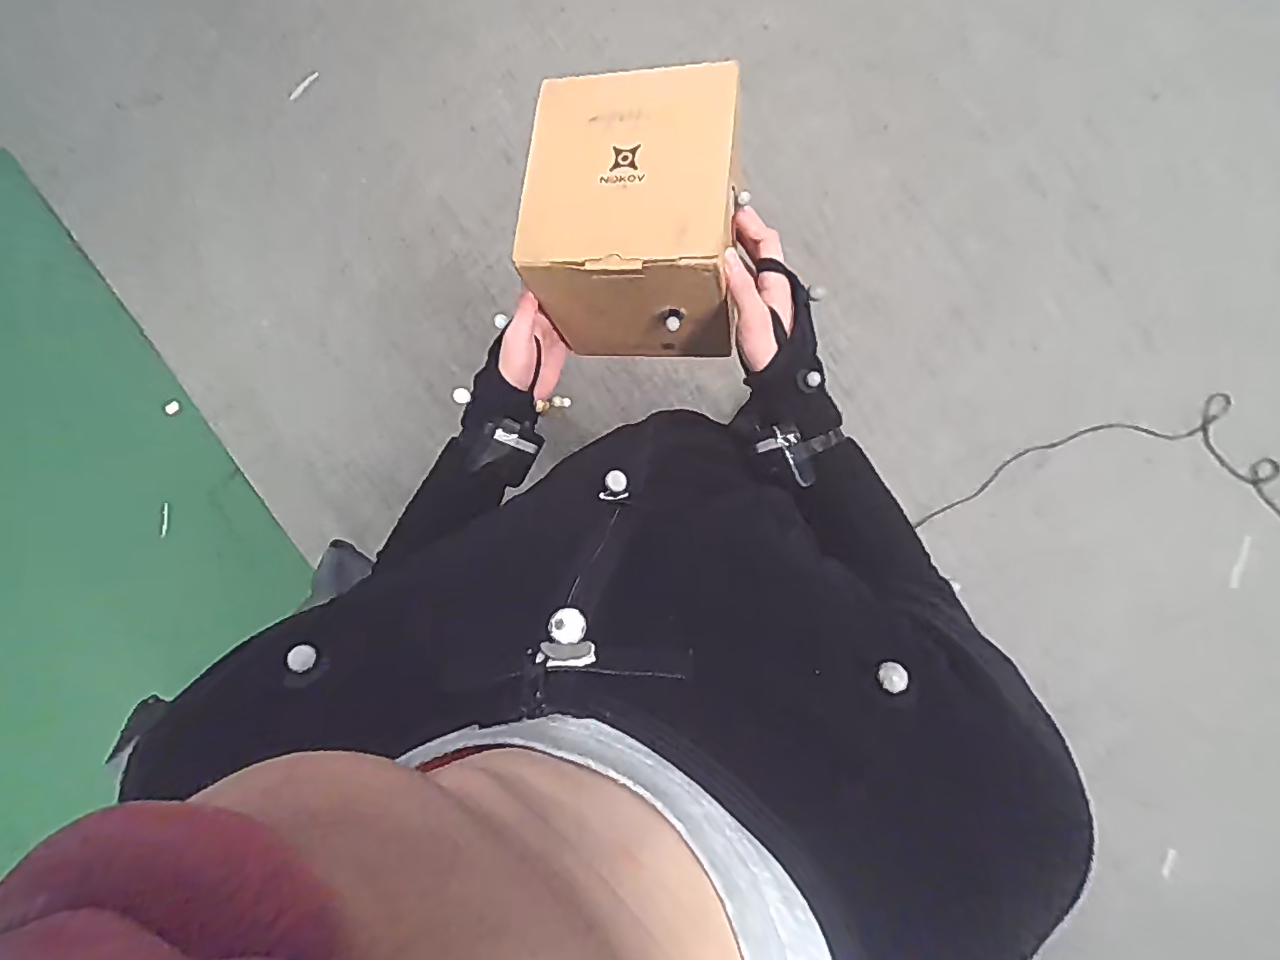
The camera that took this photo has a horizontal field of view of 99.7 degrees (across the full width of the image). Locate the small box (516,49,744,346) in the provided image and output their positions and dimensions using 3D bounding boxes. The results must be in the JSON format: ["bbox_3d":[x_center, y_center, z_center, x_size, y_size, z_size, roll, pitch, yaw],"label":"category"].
[{"bbox_3d":[0.006,-0.235,0.493,0.168,0.176,0.179,3,78,12],"label":"small box"}]
